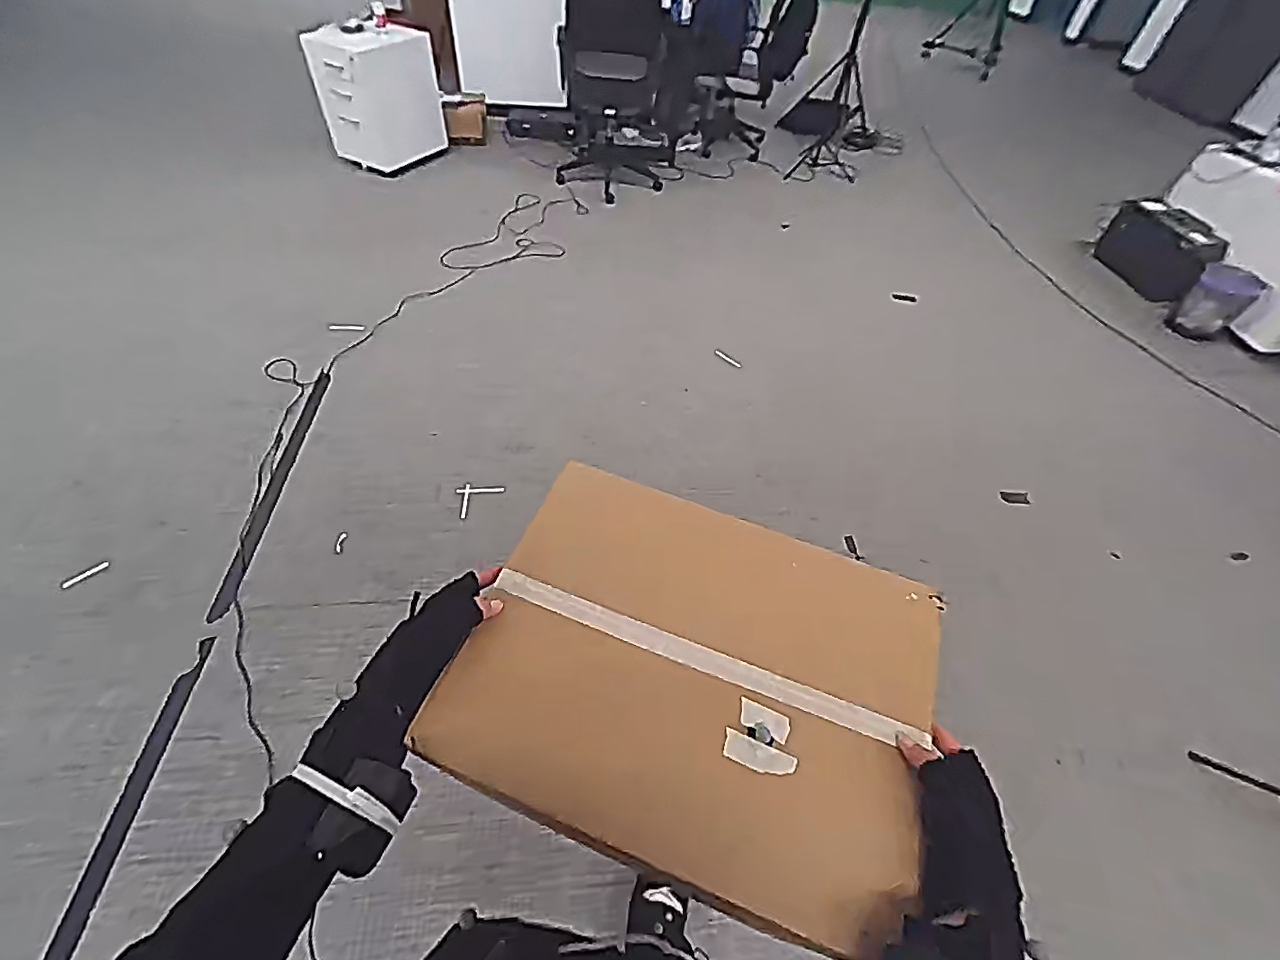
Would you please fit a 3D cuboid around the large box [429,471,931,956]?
[{"bbox_3d":[0.048,0.250,0.618,0.408,0.320,0.320,20,56,9],"label":"large box"}]
